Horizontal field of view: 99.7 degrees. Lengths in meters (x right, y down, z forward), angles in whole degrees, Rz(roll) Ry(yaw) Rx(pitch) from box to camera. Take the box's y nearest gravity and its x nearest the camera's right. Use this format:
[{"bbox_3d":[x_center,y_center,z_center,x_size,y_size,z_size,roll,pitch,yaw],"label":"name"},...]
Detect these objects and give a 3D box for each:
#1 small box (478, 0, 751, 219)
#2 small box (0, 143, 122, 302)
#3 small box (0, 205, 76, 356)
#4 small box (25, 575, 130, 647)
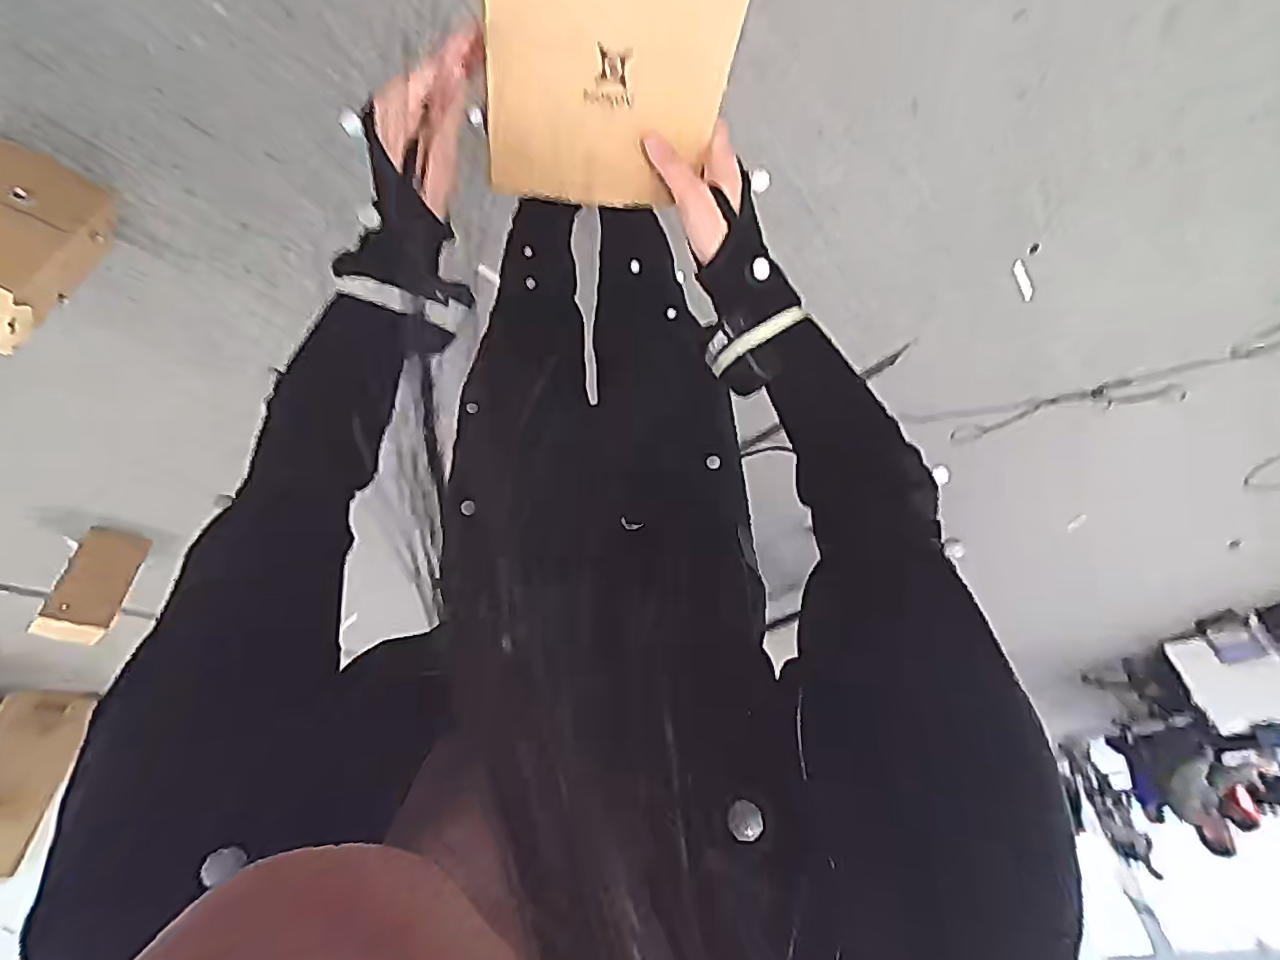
[{"bbox_3d":[-0.034,-0.330,0.408,0.168,0.176,0.179,-3,147,-14],"label":"small box"},{"bbox_3d":[-1.110,-0.475,0.997,0.179,0.176,0.168,27,131,-33],"label":"small box"},{"bbox_3d":[-1.093,-0.347,0.894,0.179,0.176,0.168,27,131,-34],"label":"small box"},{"bbox_3d":[-1.864,0.432,1.798,0.168,0.176,0.179,-30,137,29],"label":"small box"}]
